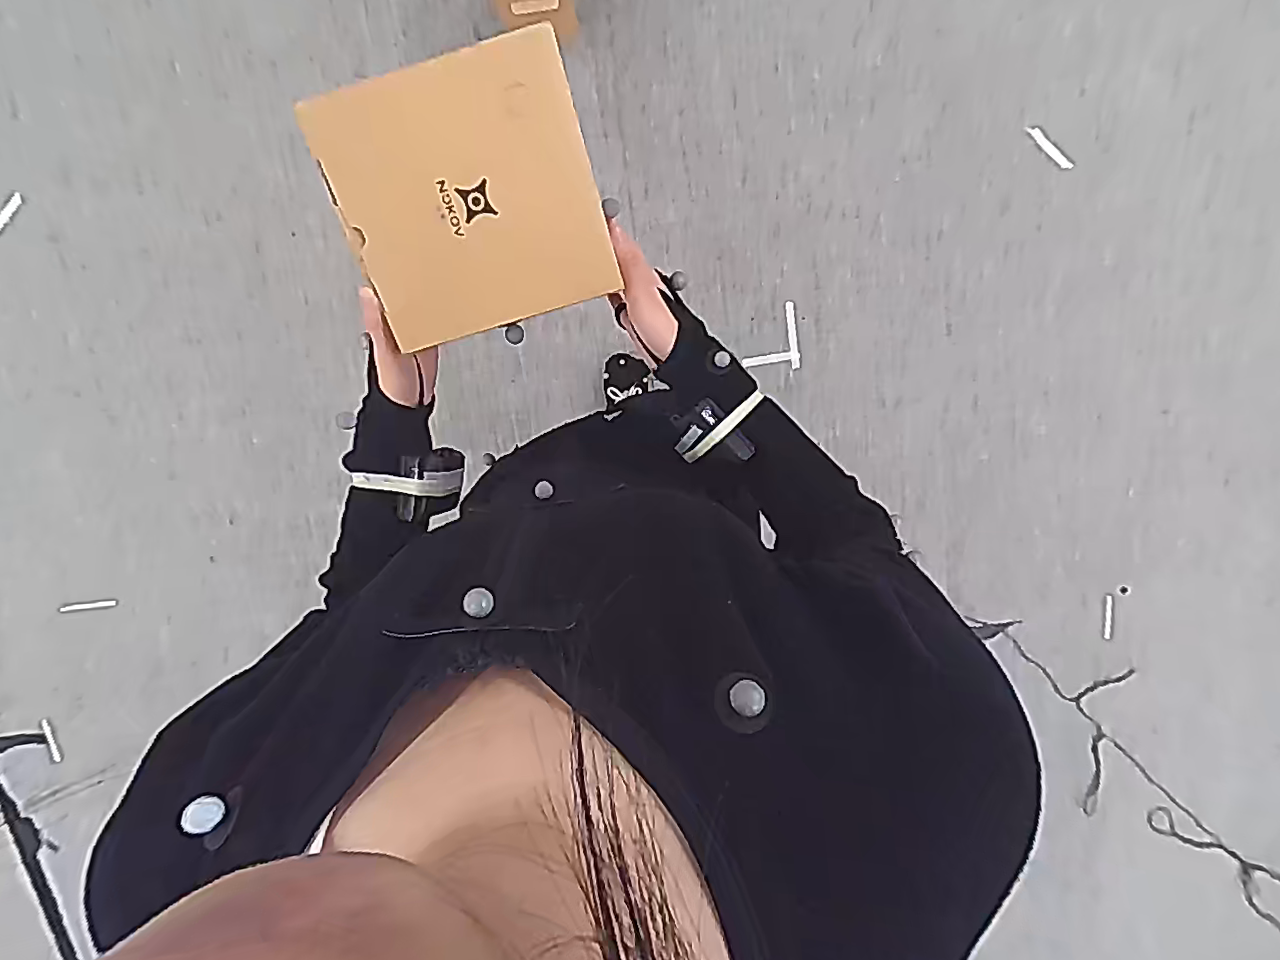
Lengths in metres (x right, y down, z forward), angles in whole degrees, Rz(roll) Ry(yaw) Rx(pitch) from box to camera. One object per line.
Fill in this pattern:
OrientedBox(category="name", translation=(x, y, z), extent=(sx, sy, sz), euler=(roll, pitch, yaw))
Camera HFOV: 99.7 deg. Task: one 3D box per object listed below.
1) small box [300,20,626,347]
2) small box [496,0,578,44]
OrientedBox(category="small box", translation=(-0.119, -0.222, 0.442), extent=(0.179, 0.176, 0.168), euler=(-16, 111, 3))
OrientedBox(category="small box", translation=(-0.236, -1.108, 1.208), extent=(0.168, 0.176, 0.179), euler=(-9, 100, -1))
